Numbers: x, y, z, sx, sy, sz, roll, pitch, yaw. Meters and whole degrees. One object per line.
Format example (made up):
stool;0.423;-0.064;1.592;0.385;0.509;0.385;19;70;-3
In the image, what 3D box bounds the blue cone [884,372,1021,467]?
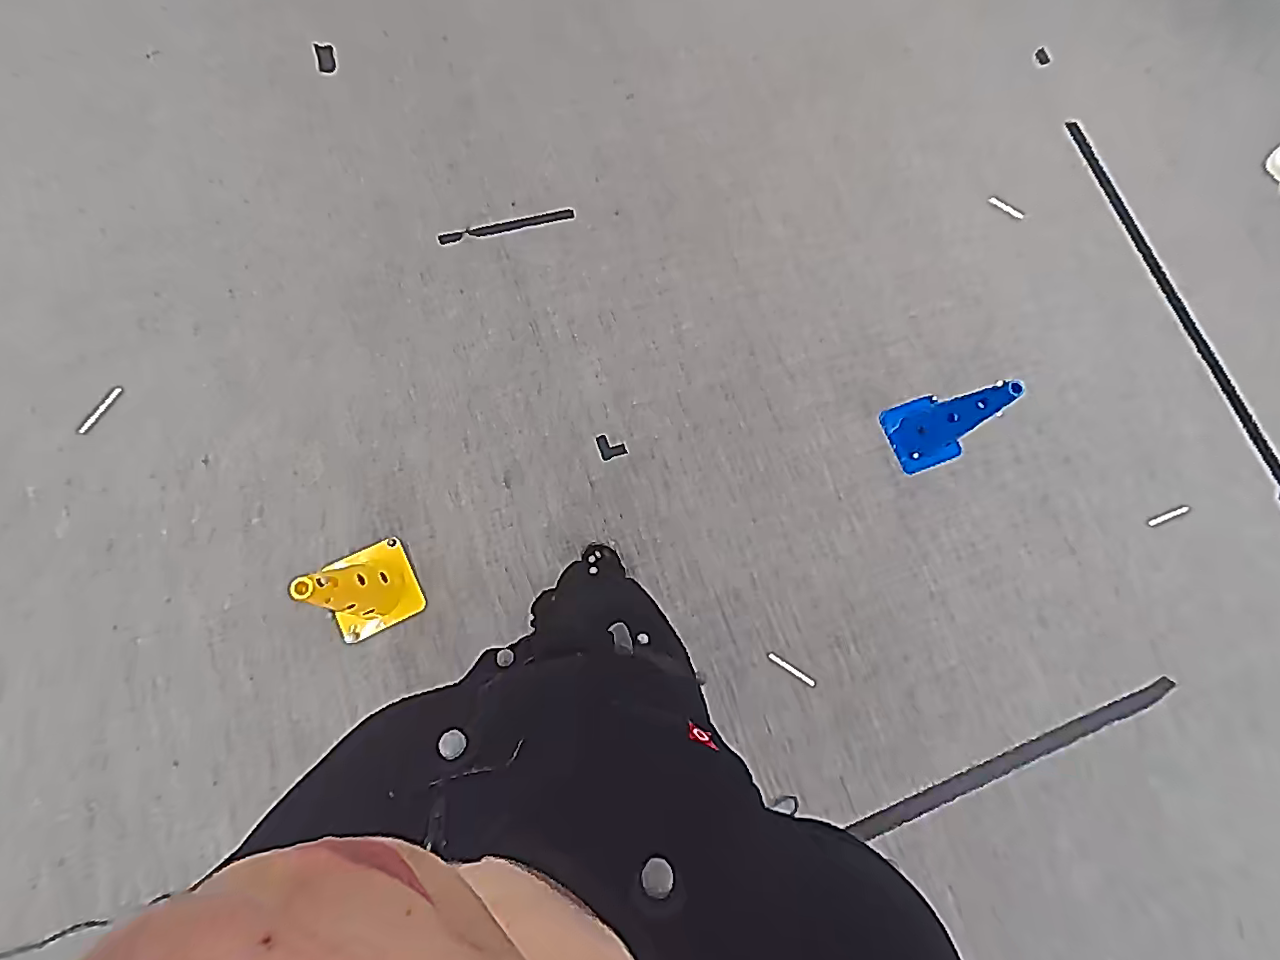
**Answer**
blue cone;0.832;-0.177;1.399;0.193;0.380;0.192;-18;79;-10
